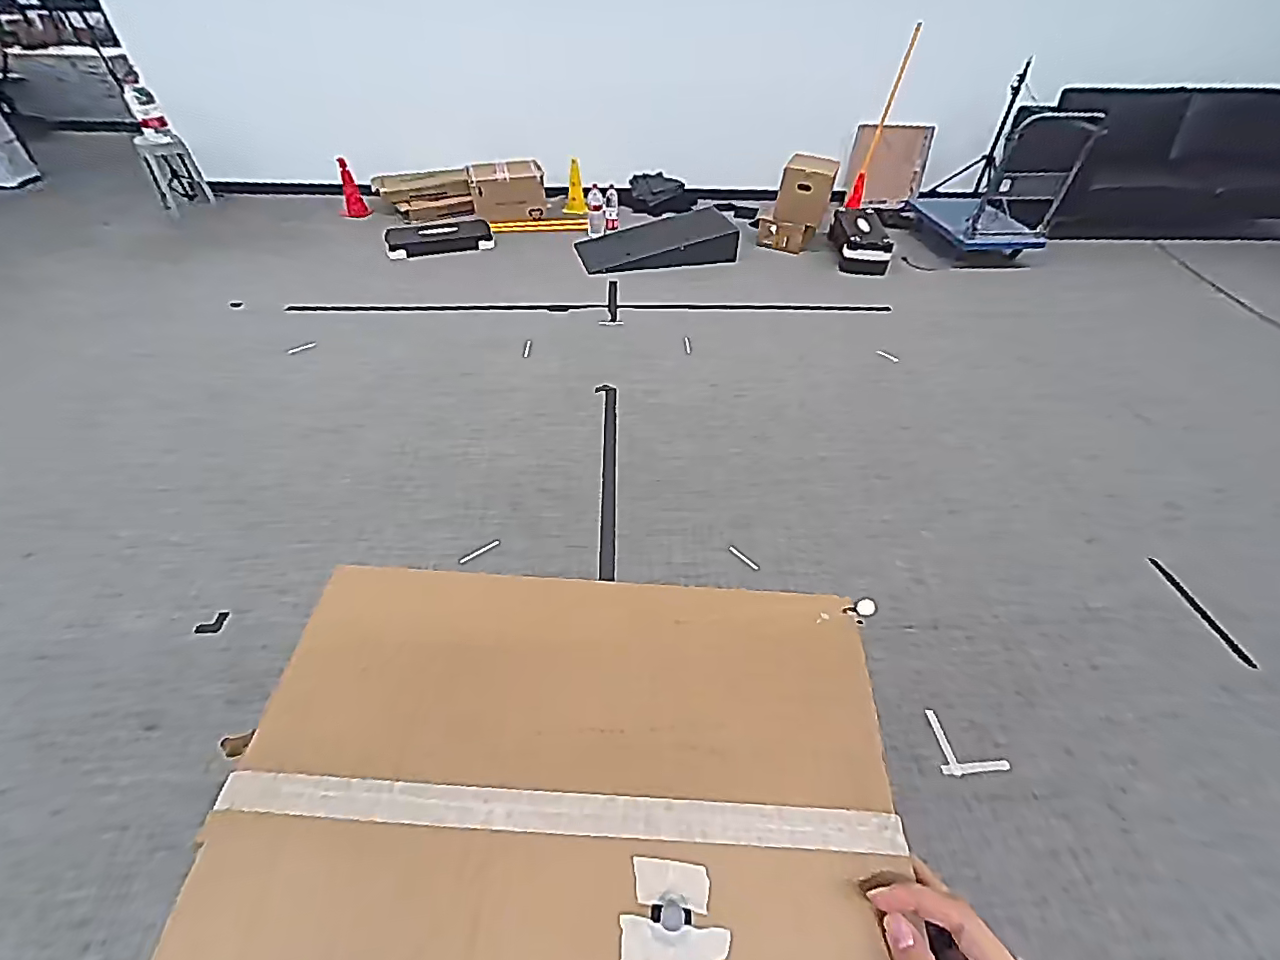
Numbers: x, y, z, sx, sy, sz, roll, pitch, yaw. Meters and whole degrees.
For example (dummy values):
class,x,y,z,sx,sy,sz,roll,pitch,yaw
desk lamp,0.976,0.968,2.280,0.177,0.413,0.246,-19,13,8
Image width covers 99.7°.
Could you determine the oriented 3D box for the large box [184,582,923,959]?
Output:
class,x,y,z,sx,sy,sz,roll,pitch,yaw
large box,-0.046,0.303,0.446,0.408,0.320,0.320,4,51,0
